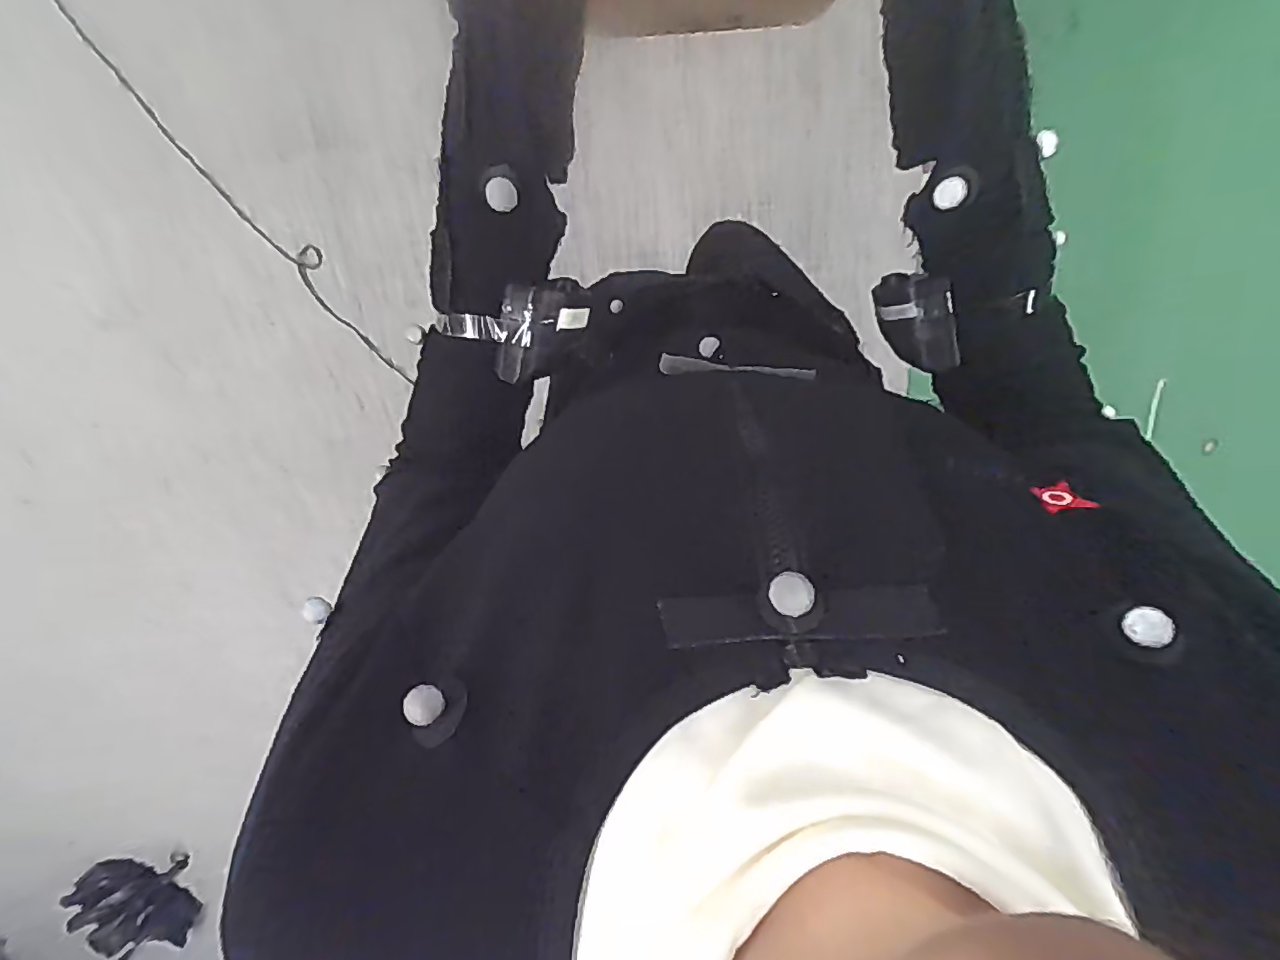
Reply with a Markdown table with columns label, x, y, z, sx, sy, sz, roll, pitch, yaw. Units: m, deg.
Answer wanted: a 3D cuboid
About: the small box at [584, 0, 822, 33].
| label | x | y | z | sx | sy | sz | roll | pitch | yaw |
| --- | --- | --- | --- | --- | --- | --- | --- | --- | --- |
| small box | 0.038 | -0.363 | 0.268 | 0.168 | 0.176 | 0.179 | -3 | 114 | 1 |
